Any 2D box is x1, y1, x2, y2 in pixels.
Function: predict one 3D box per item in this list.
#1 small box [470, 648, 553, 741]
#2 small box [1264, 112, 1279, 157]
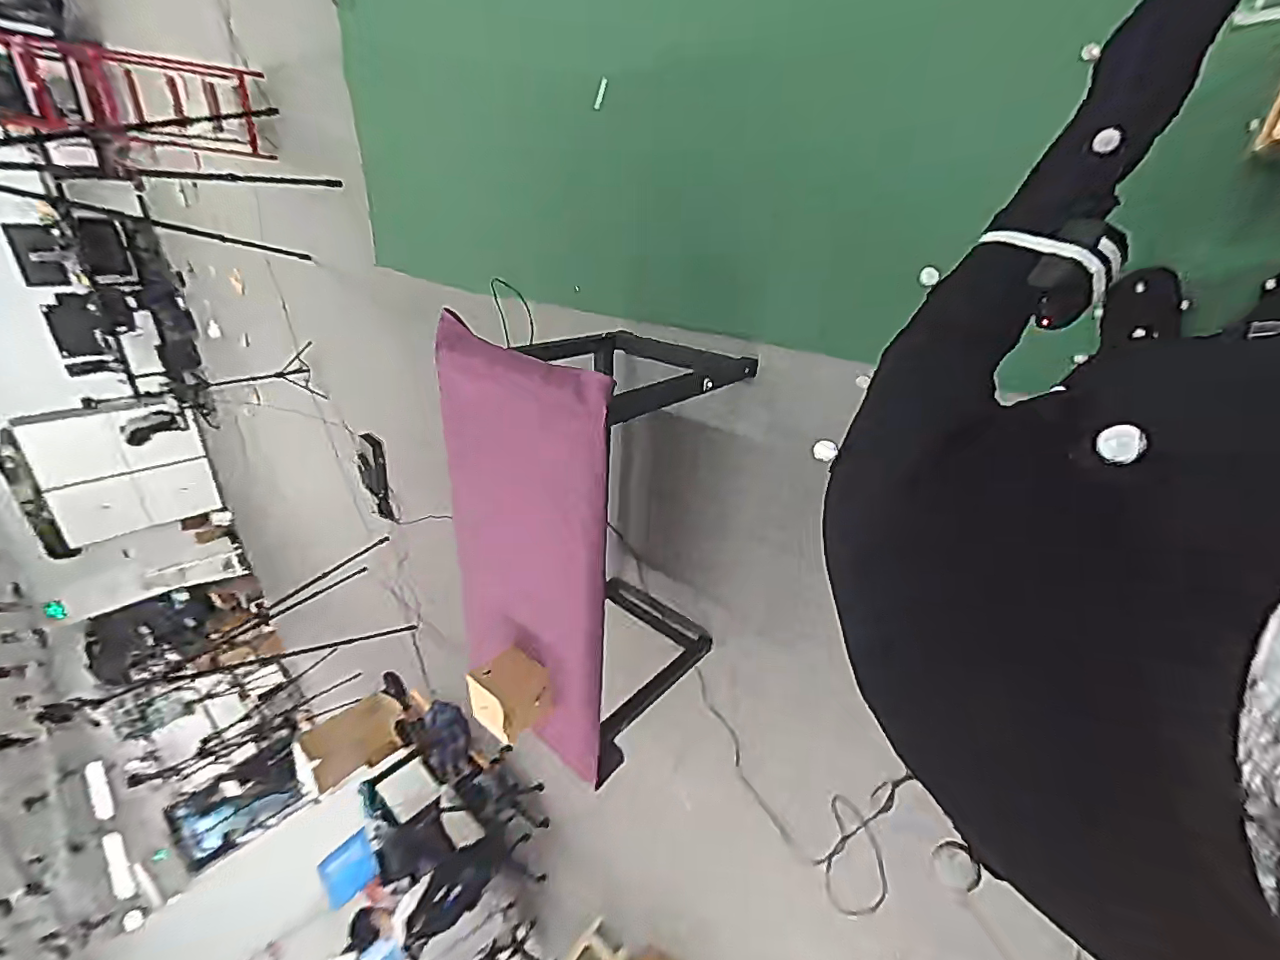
[{"bbox_3d":[-0.385,0.634,1.627,0.179,0.176,0.168,17,119,39],"label":"small box"},{"bbox_3d":[0.938,-0.504,0.667,0.179,0.176,0.168,23,123,35],"label":"small box"}]
